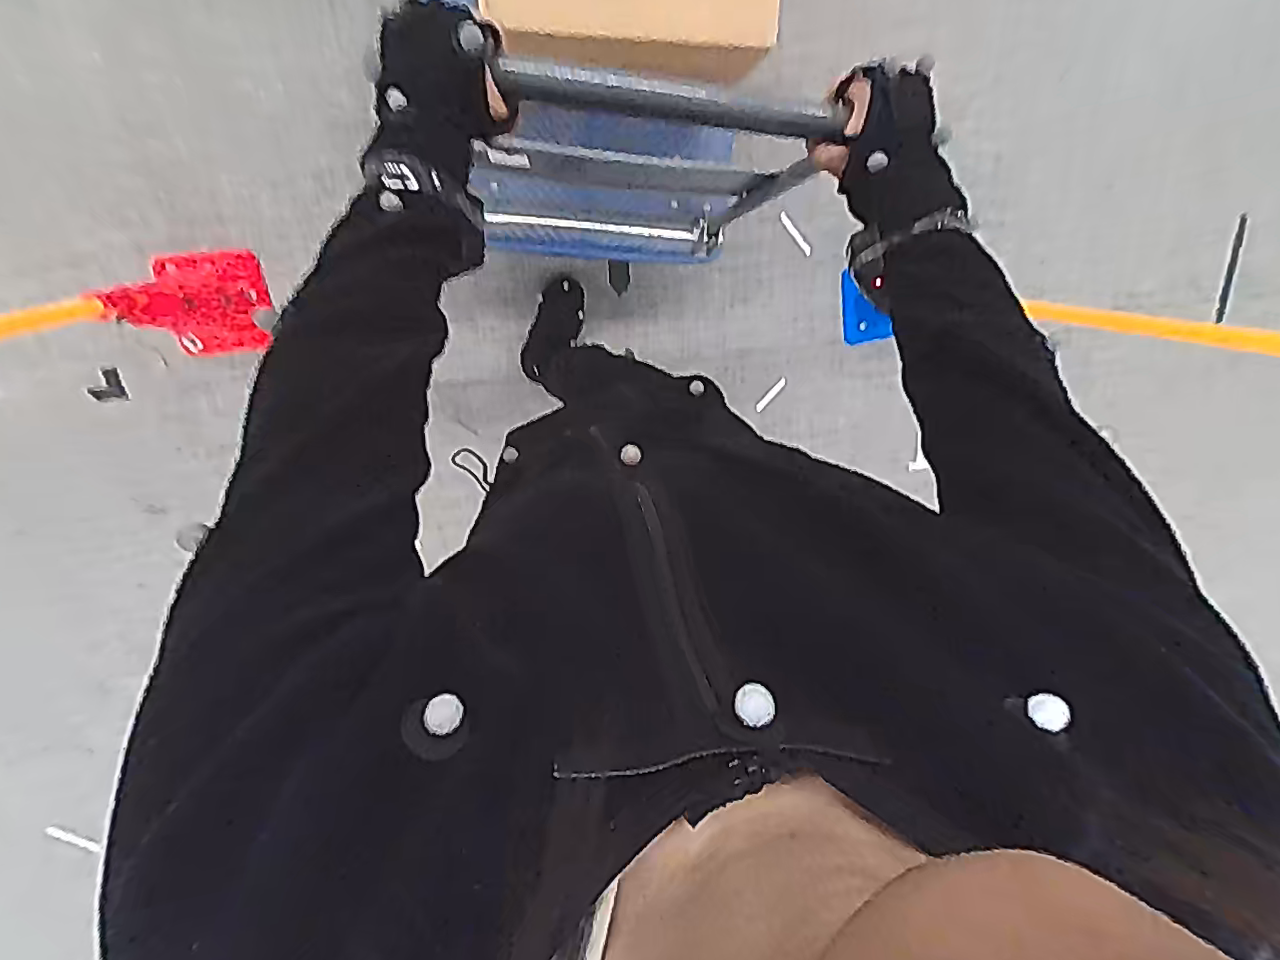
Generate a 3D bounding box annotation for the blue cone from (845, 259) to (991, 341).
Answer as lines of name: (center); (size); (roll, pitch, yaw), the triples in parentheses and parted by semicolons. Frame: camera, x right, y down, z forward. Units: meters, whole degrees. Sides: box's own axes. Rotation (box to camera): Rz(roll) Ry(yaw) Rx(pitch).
blue cone: (0.665, -0.425, 1.274); (0.193, 0.380, 0.192); (-12, 109, -8)
